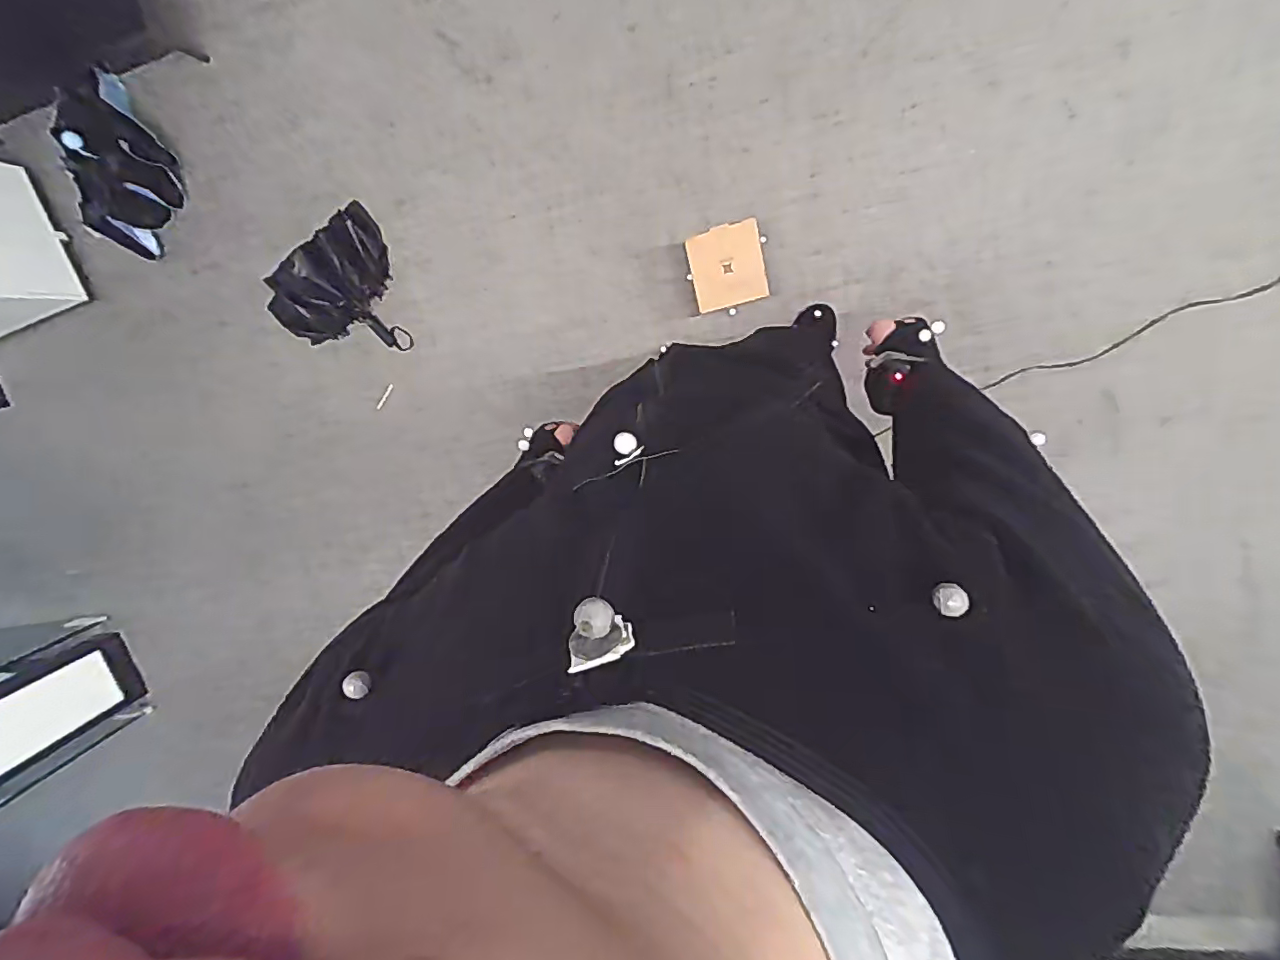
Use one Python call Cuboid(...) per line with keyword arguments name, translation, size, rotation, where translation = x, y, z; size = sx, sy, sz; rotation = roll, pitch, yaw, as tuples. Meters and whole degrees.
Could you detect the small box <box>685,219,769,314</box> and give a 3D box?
Cuboid(name="small box", translation=(0.216, -0.513, 1.323), size=(0.168, 0.176, 0.179), rotation=(-11, 105, 16))
